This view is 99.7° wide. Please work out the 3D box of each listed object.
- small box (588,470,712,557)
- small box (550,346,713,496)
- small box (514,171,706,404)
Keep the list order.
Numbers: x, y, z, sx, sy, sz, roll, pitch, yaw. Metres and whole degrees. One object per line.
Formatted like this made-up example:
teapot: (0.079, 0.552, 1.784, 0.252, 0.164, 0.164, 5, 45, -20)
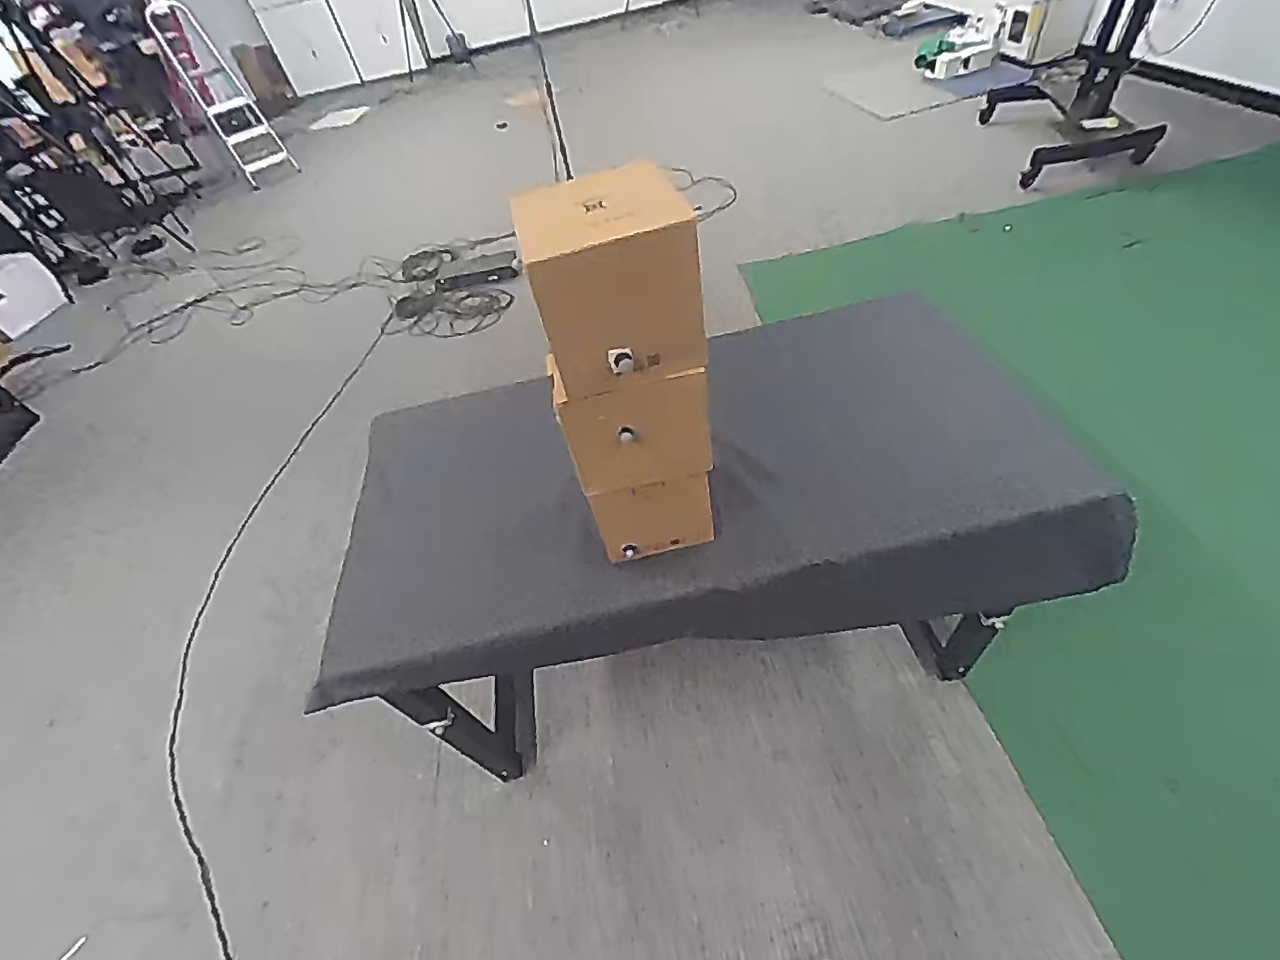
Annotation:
small box: (0.012, 0.003, 0.850, 0.168, 0.176, 0.179, -13, 46, 1)
small box: (-0.010, -0.101, 0.729, 0.179, 0.176, 0.168, -14, 45, -2)
small box: (-0.032, -0.215, 0.611, 0.168, 0.176, 0.179, -17, 48, -2)
